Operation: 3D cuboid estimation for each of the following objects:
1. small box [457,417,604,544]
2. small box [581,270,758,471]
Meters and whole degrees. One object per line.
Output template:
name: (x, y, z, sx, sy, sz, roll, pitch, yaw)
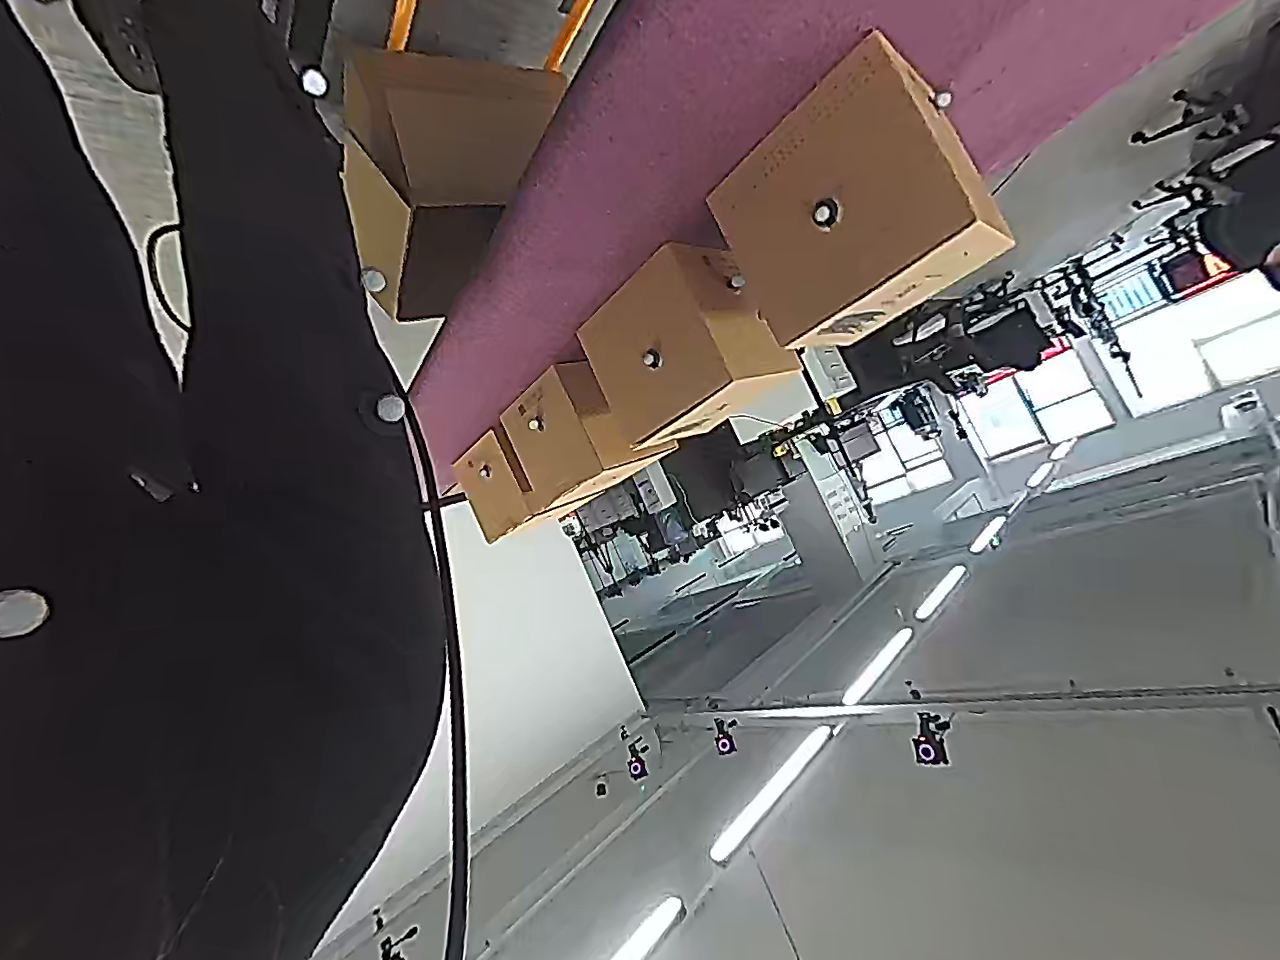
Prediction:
small box: (-0.204, -0.005, 1.001, 0.179, 0.176, 0.168, -20, 173, -47)
small box: (0.034, -0.130, 0.712, 0.168, 0.176, 0.179, 19, 156, -13)
